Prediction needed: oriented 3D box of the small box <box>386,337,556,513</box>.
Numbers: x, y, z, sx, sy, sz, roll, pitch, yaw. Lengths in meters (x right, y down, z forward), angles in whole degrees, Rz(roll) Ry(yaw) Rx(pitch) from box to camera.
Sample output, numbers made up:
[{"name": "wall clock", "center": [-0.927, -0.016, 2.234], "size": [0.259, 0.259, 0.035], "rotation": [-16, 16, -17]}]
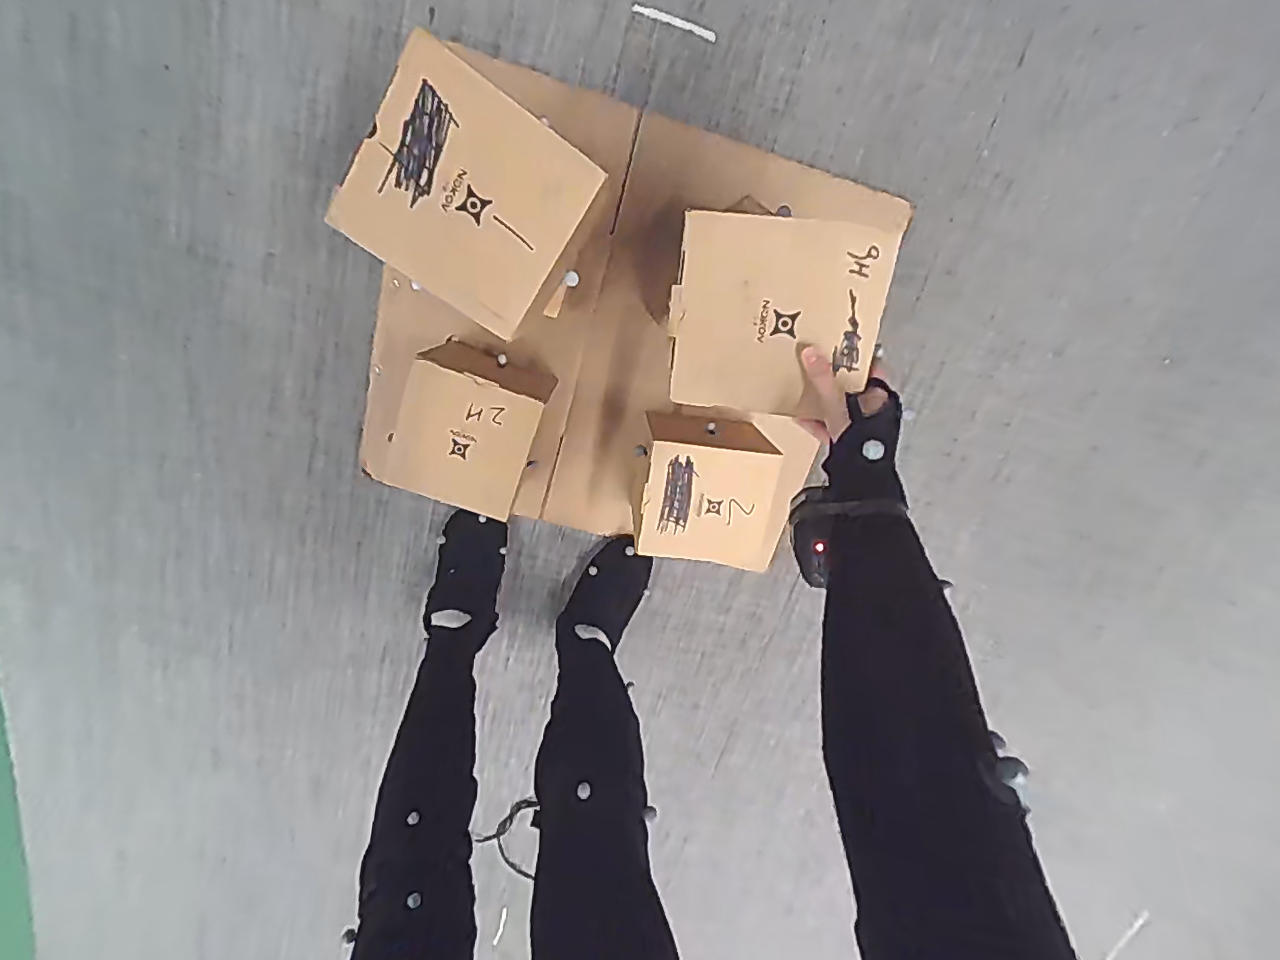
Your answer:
[{"name": "small box", "center": [-0.223, -0.084, 0.755], "size": [0.168, 0.176, 0.179], "rotation": [20, 107, -10]}]

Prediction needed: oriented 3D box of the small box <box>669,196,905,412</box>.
[{"name": "small box", "center": [0.132, -0.177, 0.541], "size": [0.179, 0.176, 0.168], "rotation": [8, 113, 7]}]

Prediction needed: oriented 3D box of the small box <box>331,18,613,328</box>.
[{"name": "small box", "center": [-0.142, -0.266, 0.519], "size": [0.179, 0.176, 0.168], "rotation": [33, 105, -14]}]
